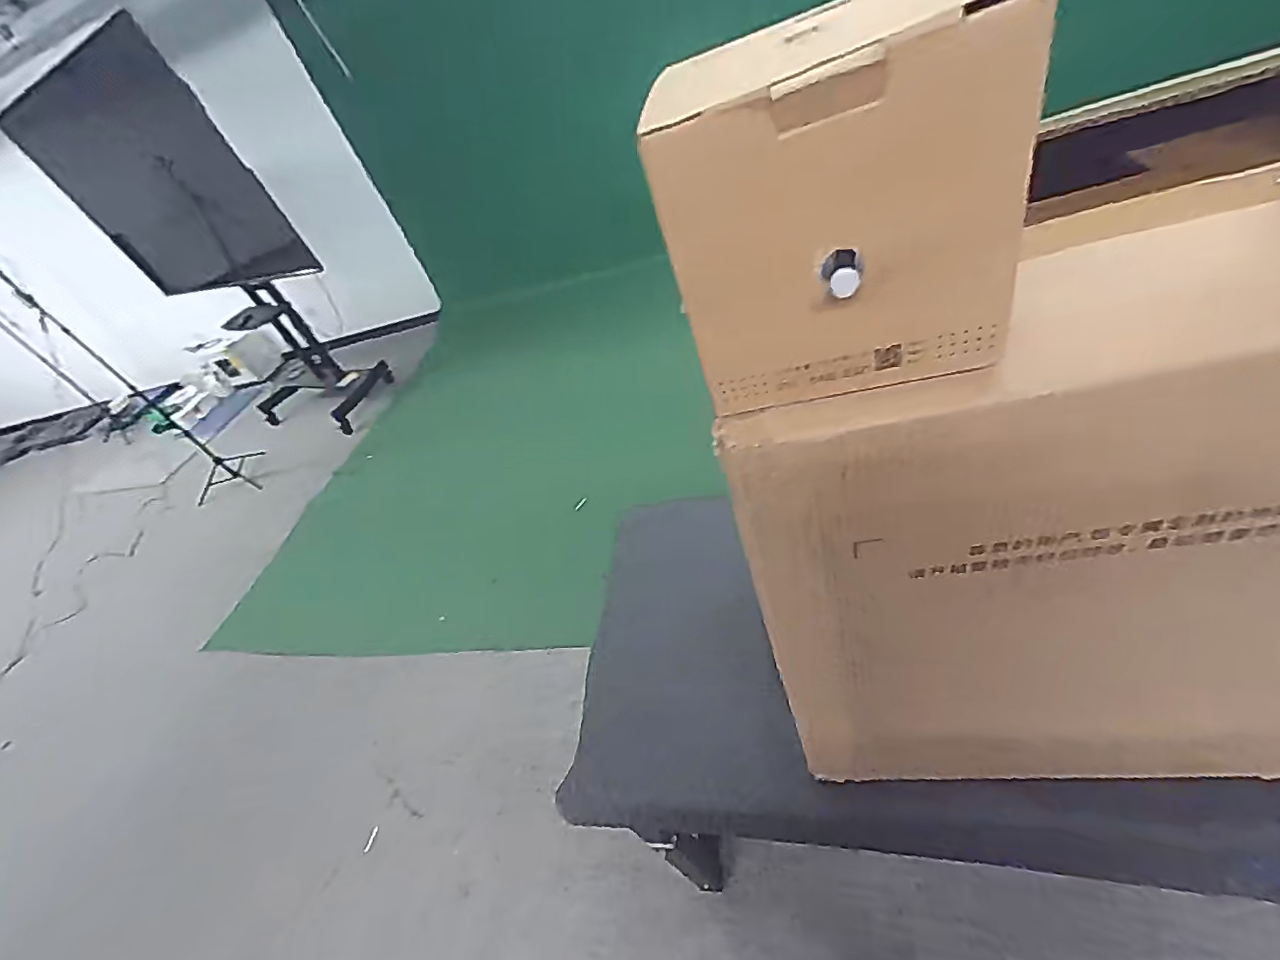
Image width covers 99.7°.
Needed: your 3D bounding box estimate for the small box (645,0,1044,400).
[{"bbox_3d":[0.112,-0.166,0.336,0.168,0.176,0.179,-9,43,17],"label":"small box"}]
